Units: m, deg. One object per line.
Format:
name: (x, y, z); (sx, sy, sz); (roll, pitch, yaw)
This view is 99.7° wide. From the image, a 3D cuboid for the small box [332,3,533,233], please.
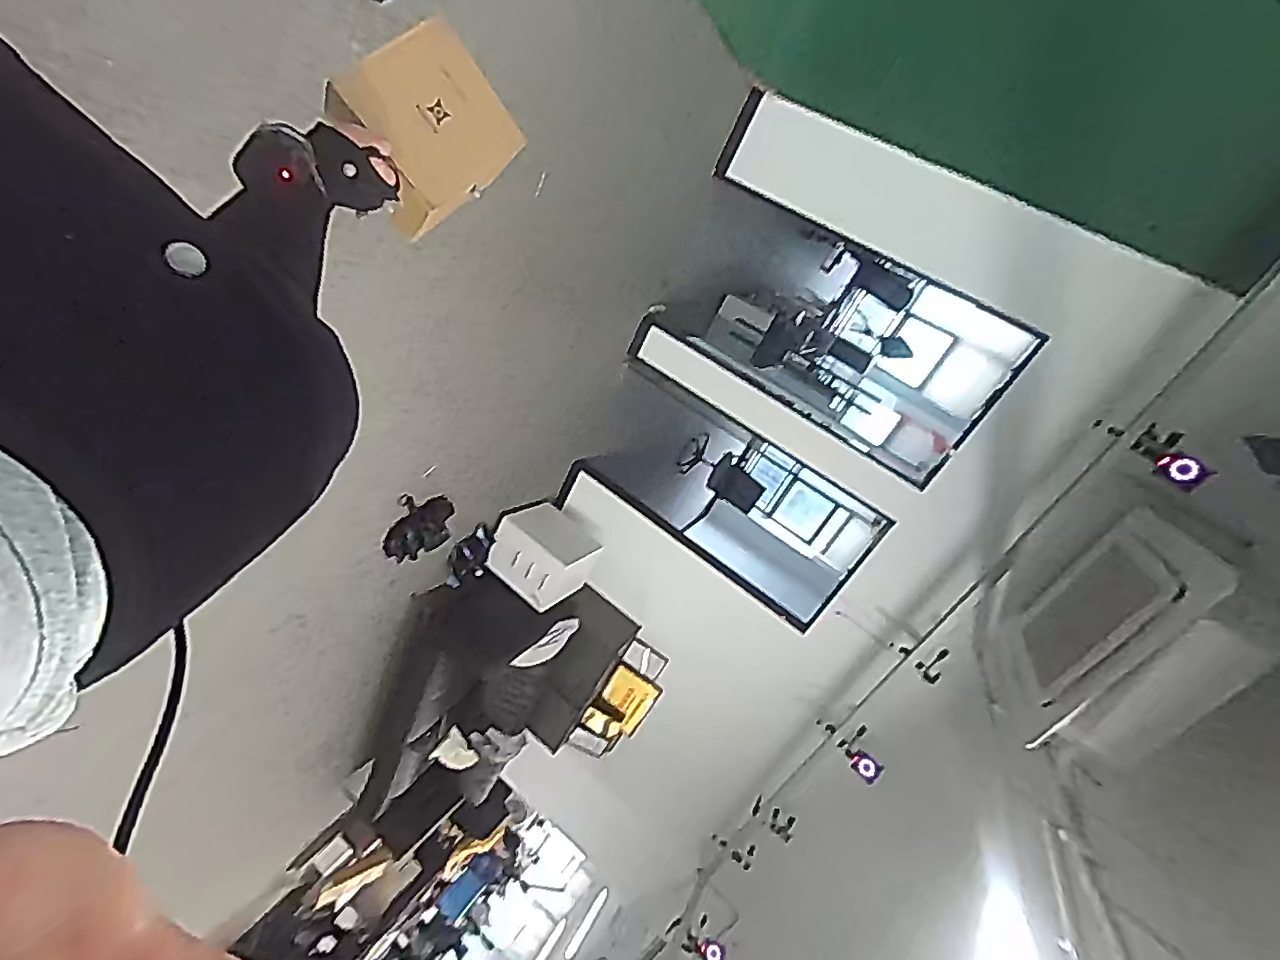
small box: (-0.282, -0.466, 0.727); (0.179, 0.176, 0.168); (-49, 119, -17)
